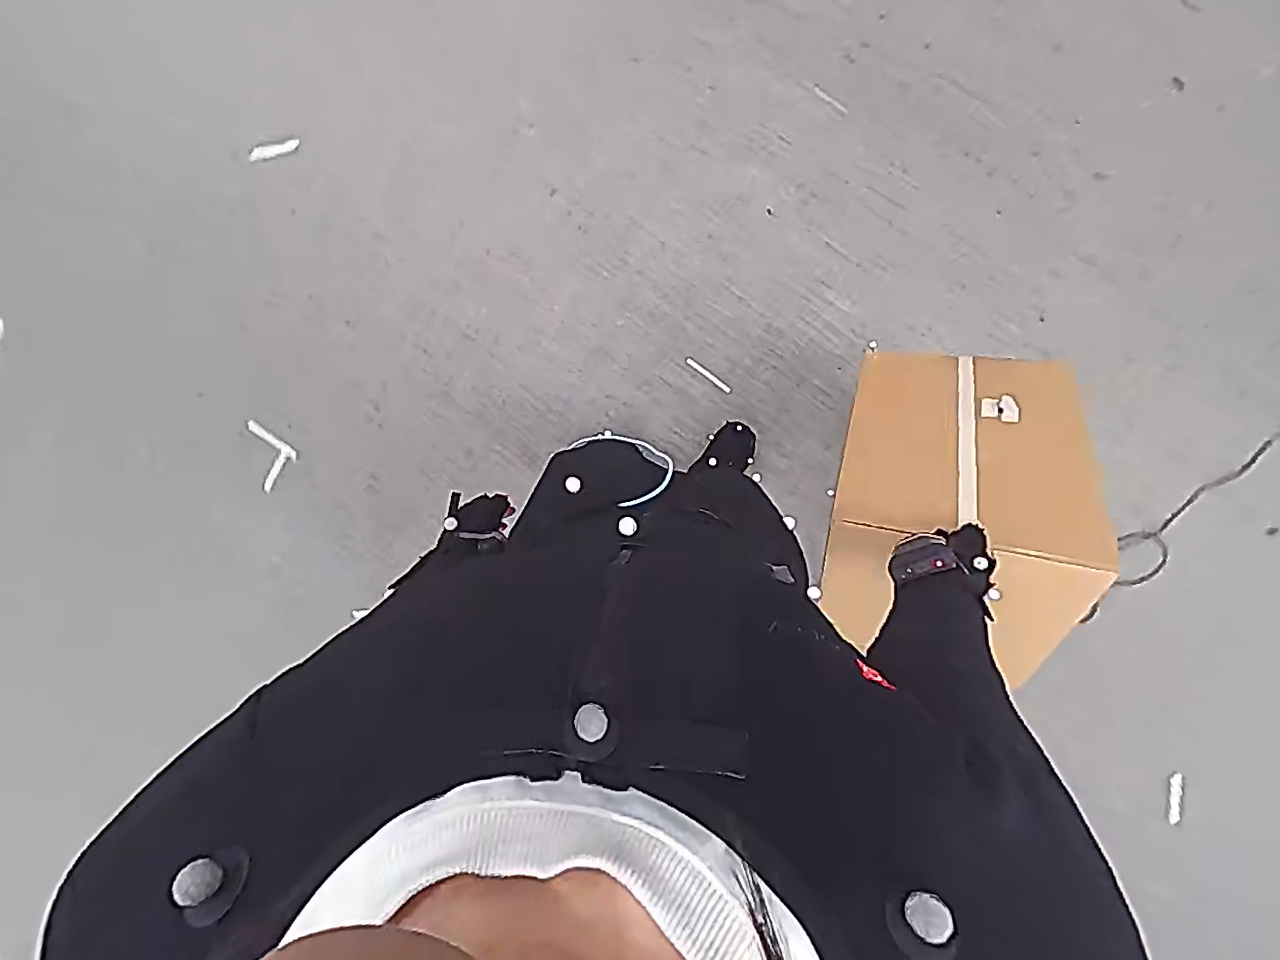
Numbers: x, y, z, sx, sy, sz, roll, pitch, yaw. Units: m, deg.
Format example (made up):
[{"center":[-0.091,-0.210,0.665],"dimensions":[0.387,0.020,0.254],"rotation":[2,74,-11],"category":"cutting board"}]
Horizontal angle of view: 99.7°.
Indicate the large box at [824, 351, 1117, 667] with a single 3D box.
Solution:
[{"center":[0.495,0.033,0.898],"dimensions":[0.320,0.408,0.320],"rotation":[9,138,20],"category":"large box"}]
